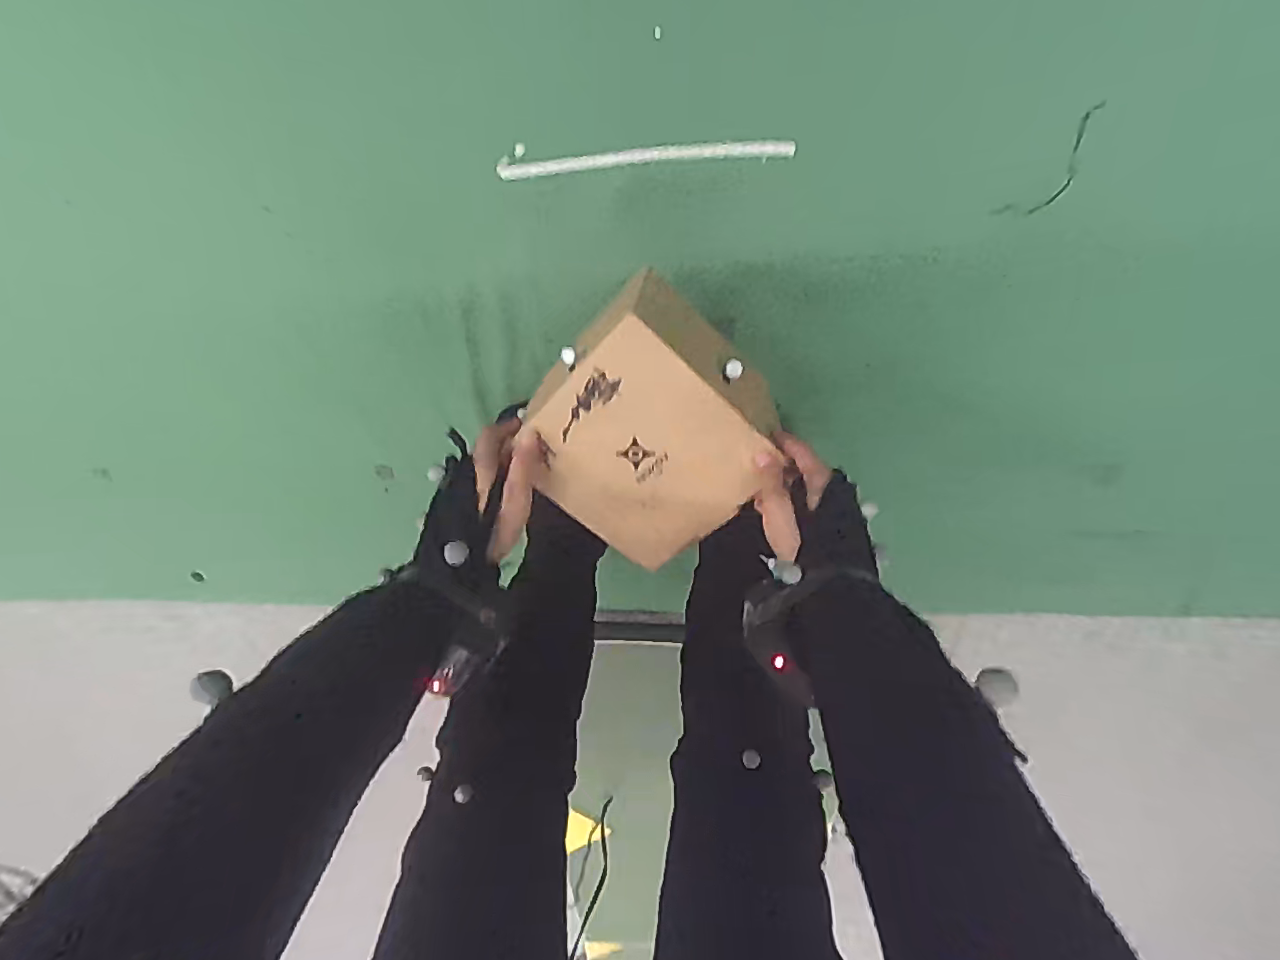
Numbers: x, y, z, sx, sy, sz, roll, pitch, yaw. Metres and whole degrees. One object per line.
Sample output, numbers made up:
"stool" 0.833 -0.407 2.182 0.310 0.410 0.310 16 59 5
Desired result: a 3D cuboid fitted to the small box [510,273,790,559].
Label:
"small box" 0.013 -0.066 0.512 0.179 0.176 0.168 39 117 -18
